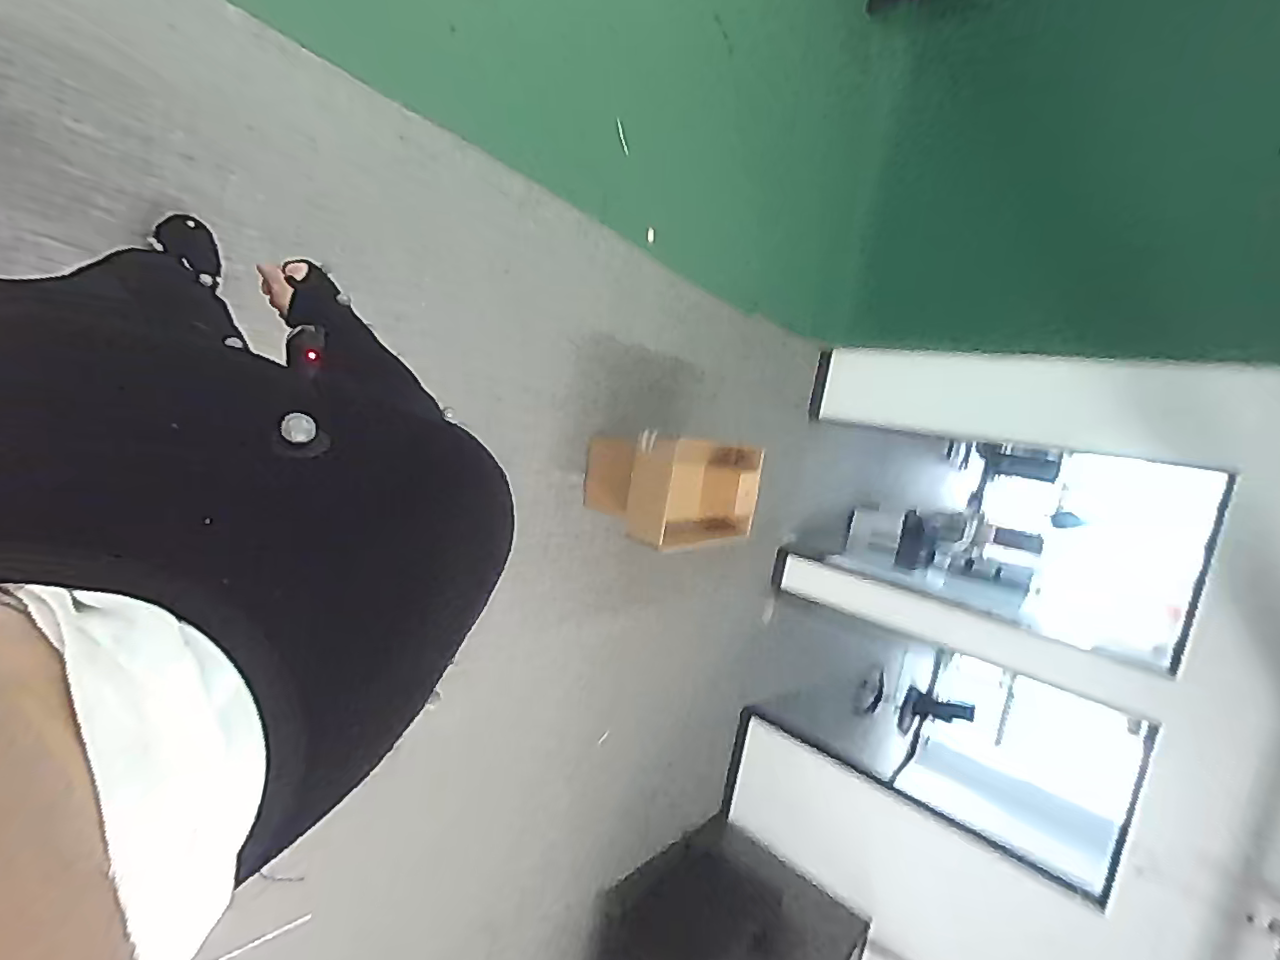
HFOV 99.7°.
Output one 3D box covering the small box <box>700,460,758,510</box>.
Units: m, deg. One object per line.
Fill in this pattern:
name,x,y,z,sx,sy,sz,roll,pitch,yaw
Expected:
small box,0.362,0.015,2.214,0.168,0.176,0.179,-6,106,-49
